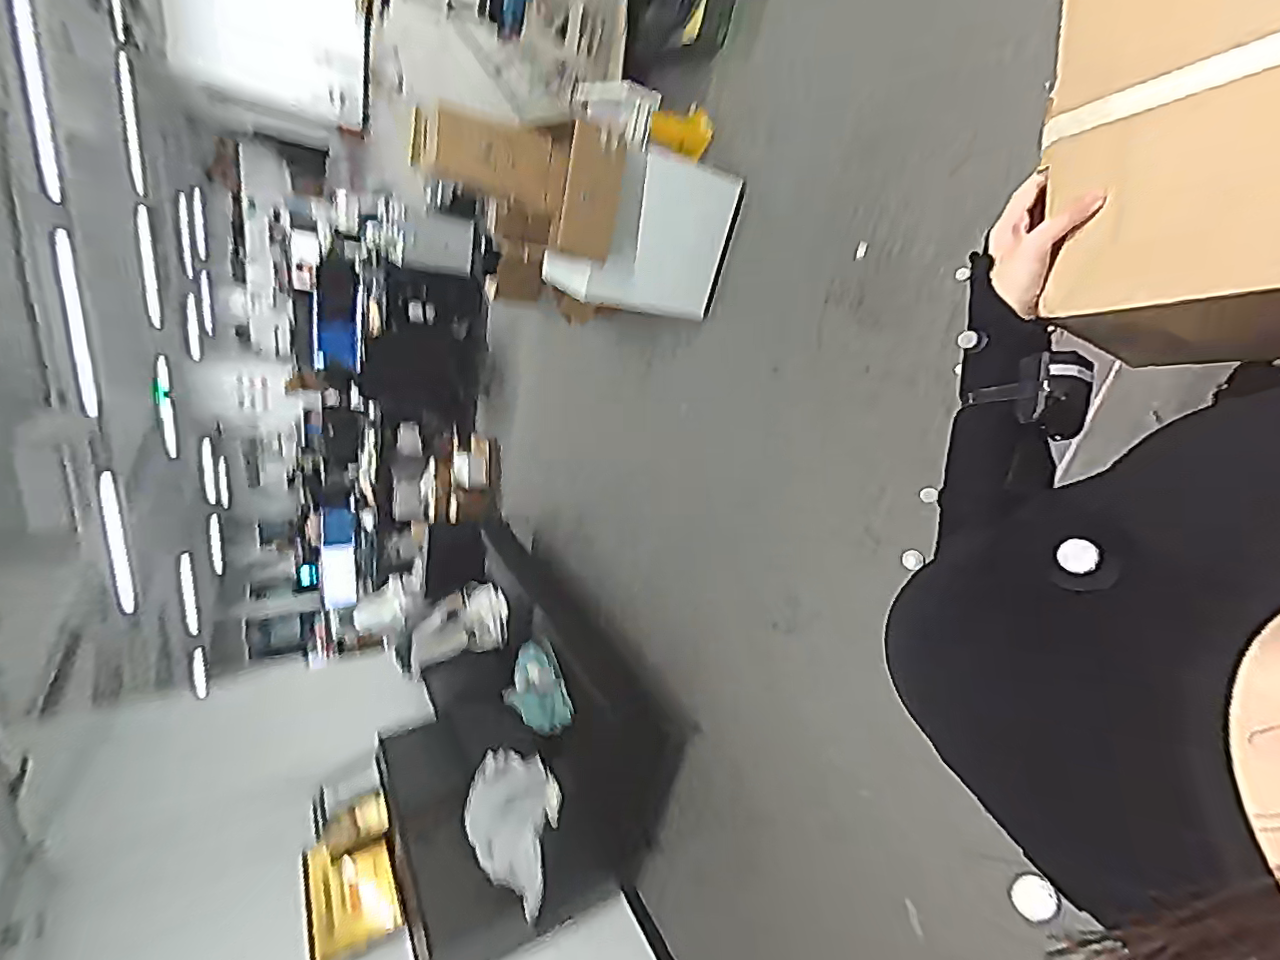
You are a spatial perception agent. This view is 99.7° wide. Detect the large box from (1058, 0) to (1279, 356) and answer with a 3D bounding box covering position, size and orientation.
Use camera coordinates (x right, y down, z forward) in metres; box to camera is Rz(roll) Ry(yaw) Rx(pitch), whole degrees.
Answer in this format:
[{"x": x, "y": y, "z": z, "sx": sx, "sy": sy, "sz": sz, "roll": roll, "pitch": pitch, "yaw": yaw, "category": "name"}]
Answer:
[{"x": 0.595, "y": -0.284, "z": 0.384, "sx": 0.408, "sy": 0.320, "sz": 0.320, "roll": 8, "pitch": 96, "yaw": 51, "category": "large box"}]
